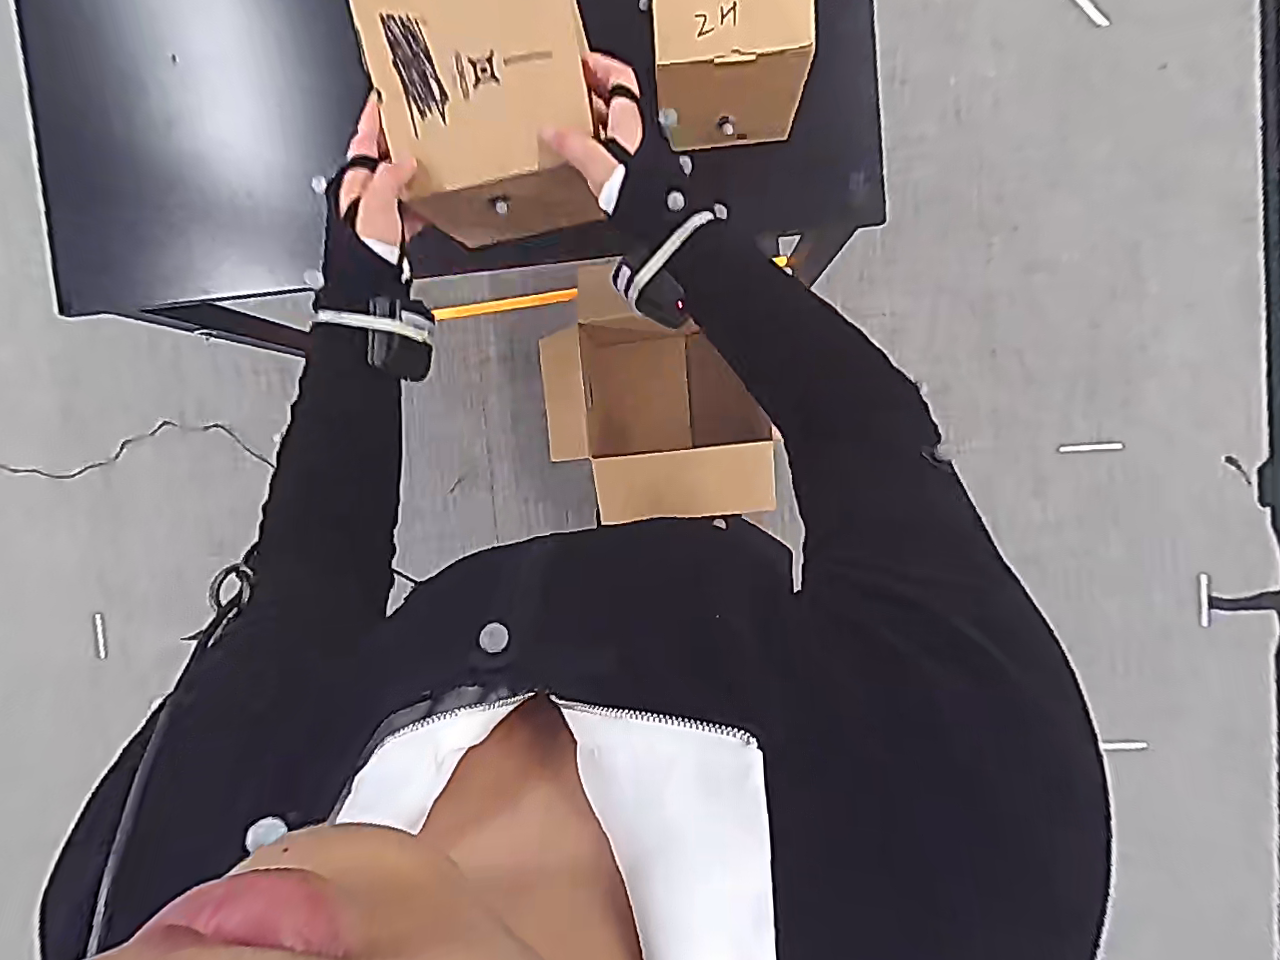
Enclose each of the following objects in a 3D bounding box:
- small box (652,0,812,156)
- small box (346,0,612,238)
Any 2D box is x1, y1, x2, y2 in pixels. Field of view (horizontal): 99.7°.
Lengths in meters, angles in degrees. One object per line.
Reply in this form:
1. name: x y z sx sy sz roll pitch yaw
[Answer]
1. small box: 0.099 -0.521 0.638 0.168 0.176 0.179 -3 93 6
2. small box: -0.132 -0.345 0.510 0.179 0.176 0.168 -10 101 5
